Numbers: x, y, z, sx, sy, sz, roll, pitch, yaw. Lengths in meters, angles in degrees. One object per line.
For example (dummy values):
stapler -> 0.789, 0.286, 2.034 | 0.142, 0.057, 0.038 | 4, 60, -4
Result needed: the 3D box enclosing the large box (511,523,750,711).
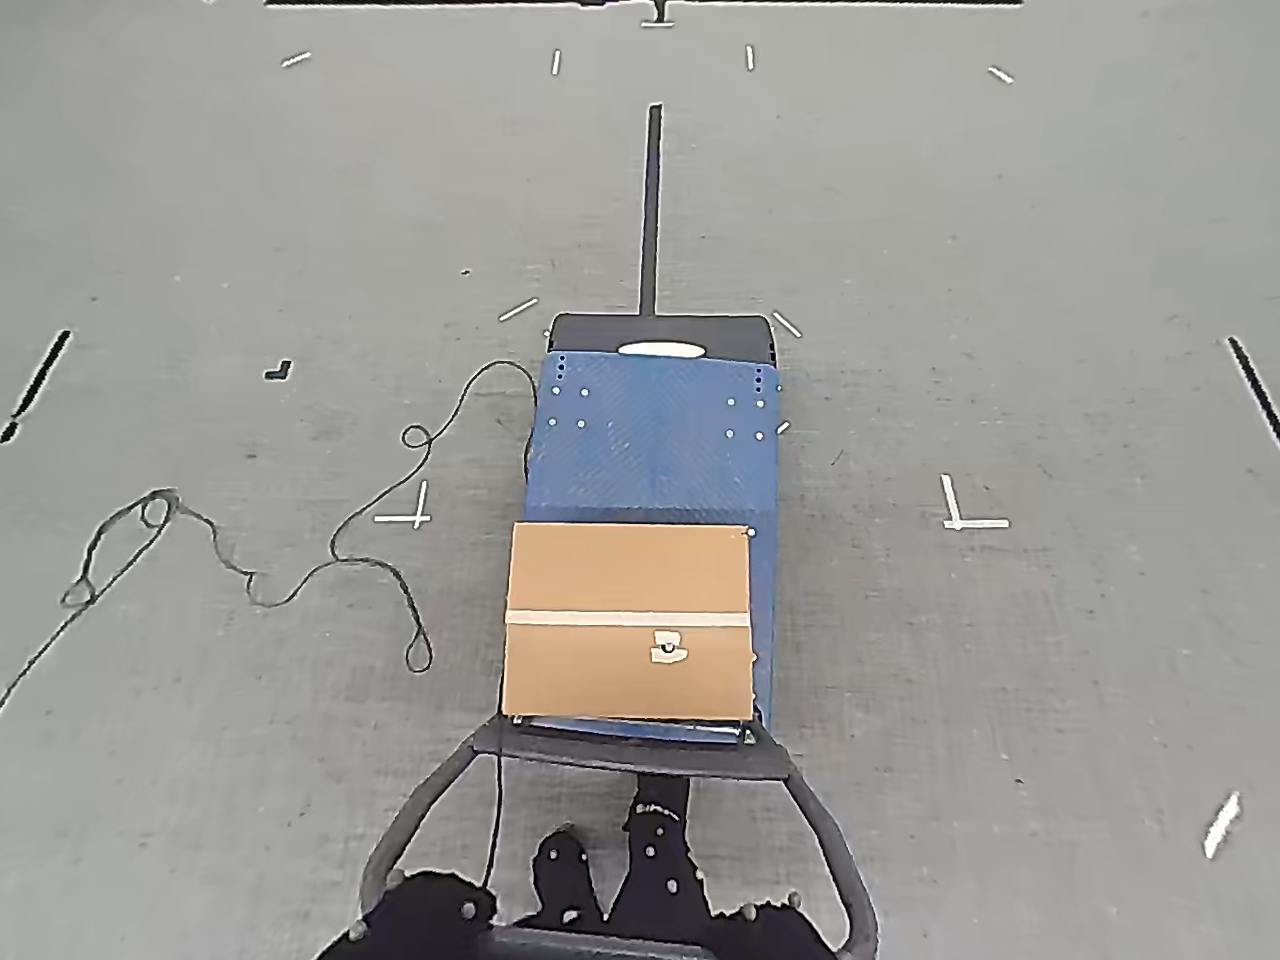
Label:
large box -> -0.017, 0.260, 1.065 | 0.408, 0.320, 0.320 | 1, 79, 0
